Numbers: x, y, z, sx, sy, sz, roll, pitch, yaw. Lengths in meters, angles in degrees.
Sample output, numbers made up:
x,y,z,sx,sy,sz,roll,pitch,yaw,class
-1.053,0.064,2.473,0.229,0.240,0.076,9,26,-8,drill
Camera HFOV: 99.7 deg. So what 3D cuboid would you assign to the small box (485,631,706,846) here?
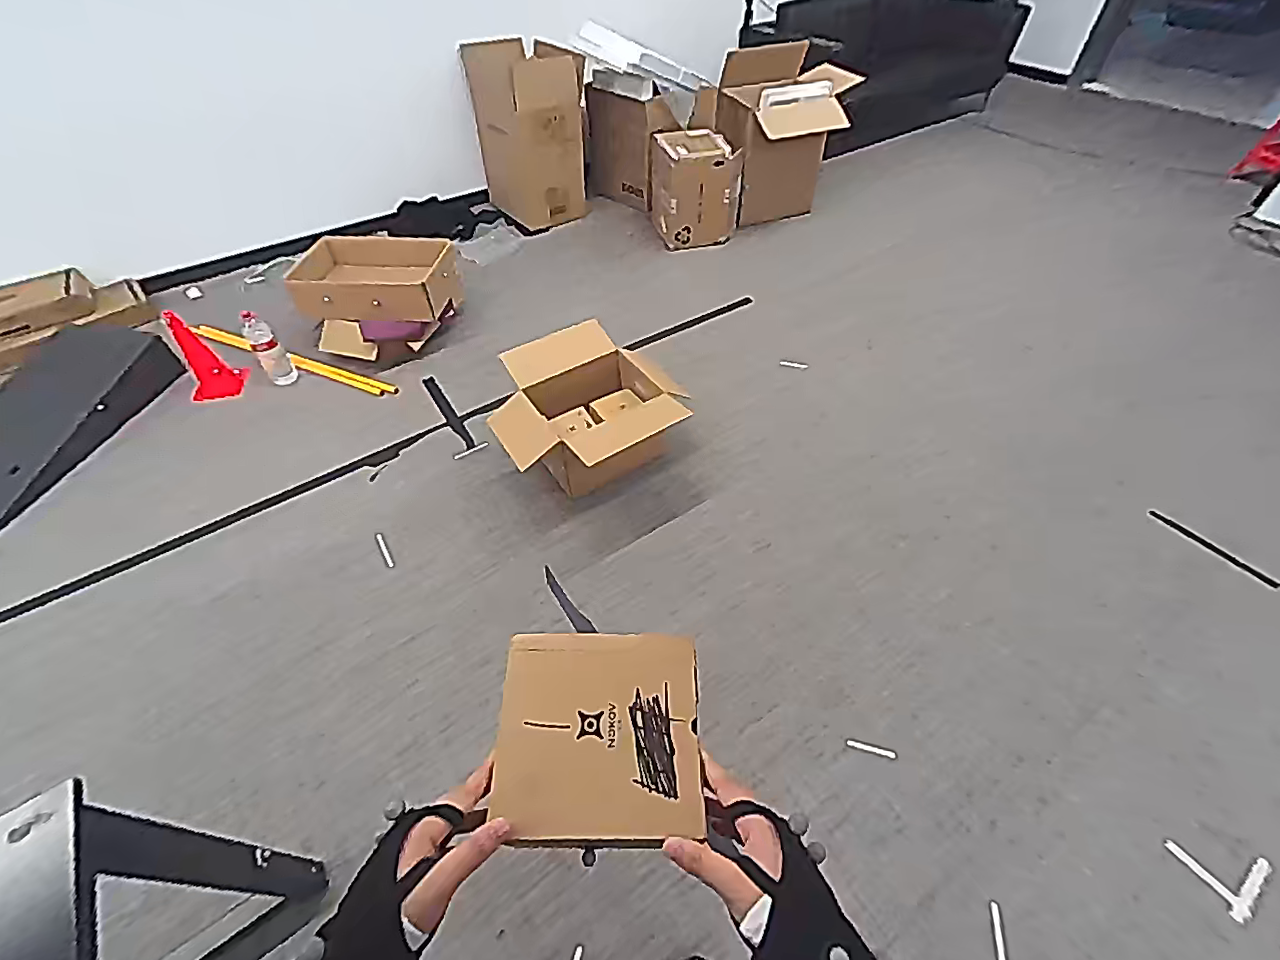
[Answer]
x,y,z,sx,sy,sz,roll,pitch,yaw,class
-0.037,0.258,0.534,0.179,0.176,0.168,0,54,-1,small box
